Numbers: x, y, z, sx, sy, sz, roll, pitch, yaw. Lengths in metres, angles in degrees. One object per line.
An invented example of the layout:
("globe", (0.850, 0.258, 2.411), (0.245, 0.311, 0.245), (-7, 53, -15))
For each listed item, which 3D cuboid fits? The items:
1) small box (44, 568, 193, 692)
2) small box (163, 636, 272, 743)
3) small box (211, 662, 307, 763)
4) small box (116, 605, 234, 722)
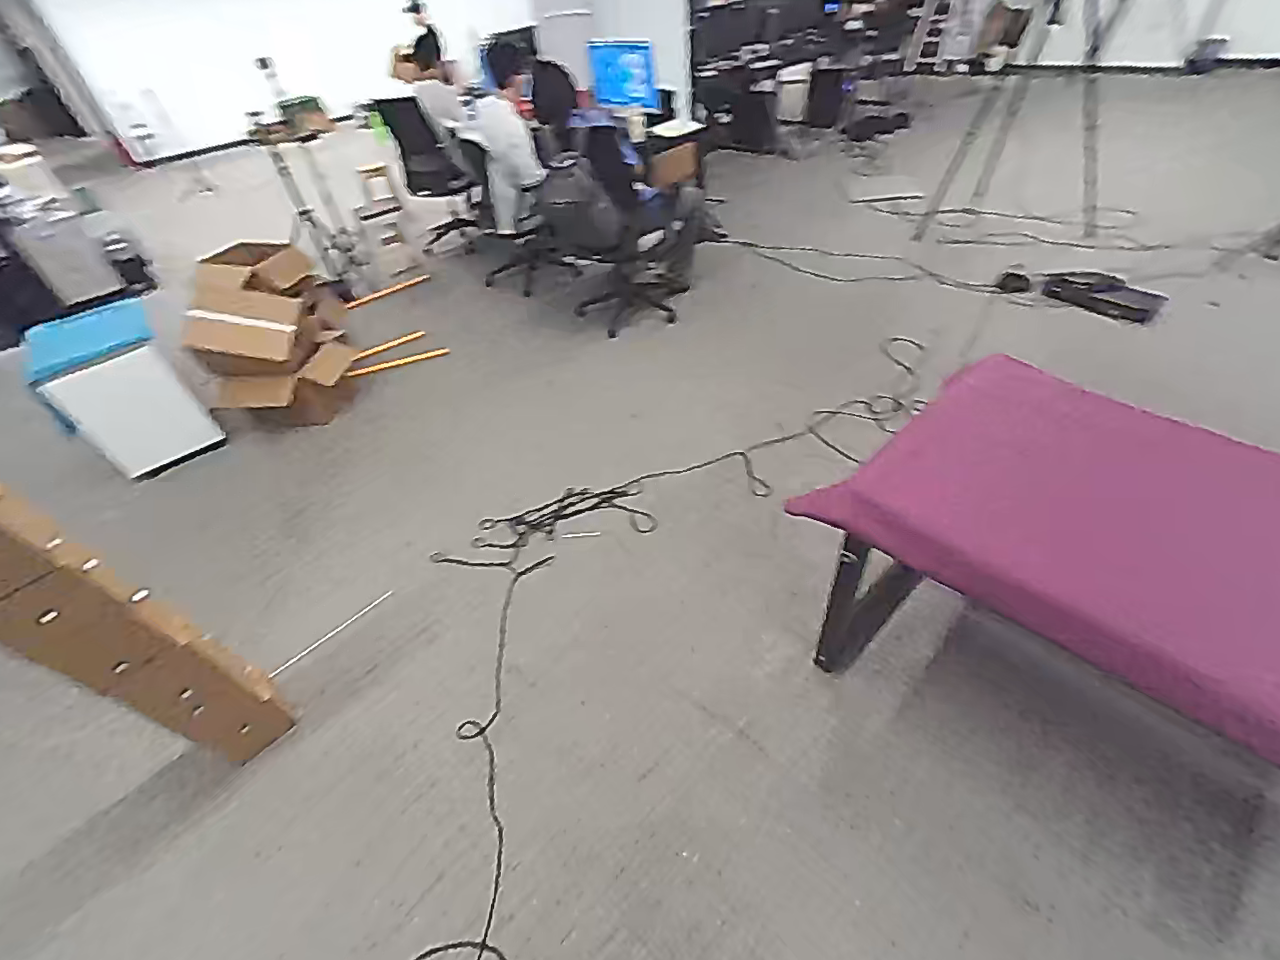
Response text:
("small box", (-1.166, 0.340, 1.216), (0.179, 0.176, 0.168), (31, 56, 32))
("small box", (-1.142, 0.565, 1.451), (0.179, 0.176, 0.168), (-37, 51, -27))
("small box", (-1.116, 0.677, 1.568), (0.179, 0.176, 0.168), (-37, 50, -28))
("small box", (-1.146, 0.452, 1.333), (0.168, 0.176, 0.179), (30, 55, 33))
